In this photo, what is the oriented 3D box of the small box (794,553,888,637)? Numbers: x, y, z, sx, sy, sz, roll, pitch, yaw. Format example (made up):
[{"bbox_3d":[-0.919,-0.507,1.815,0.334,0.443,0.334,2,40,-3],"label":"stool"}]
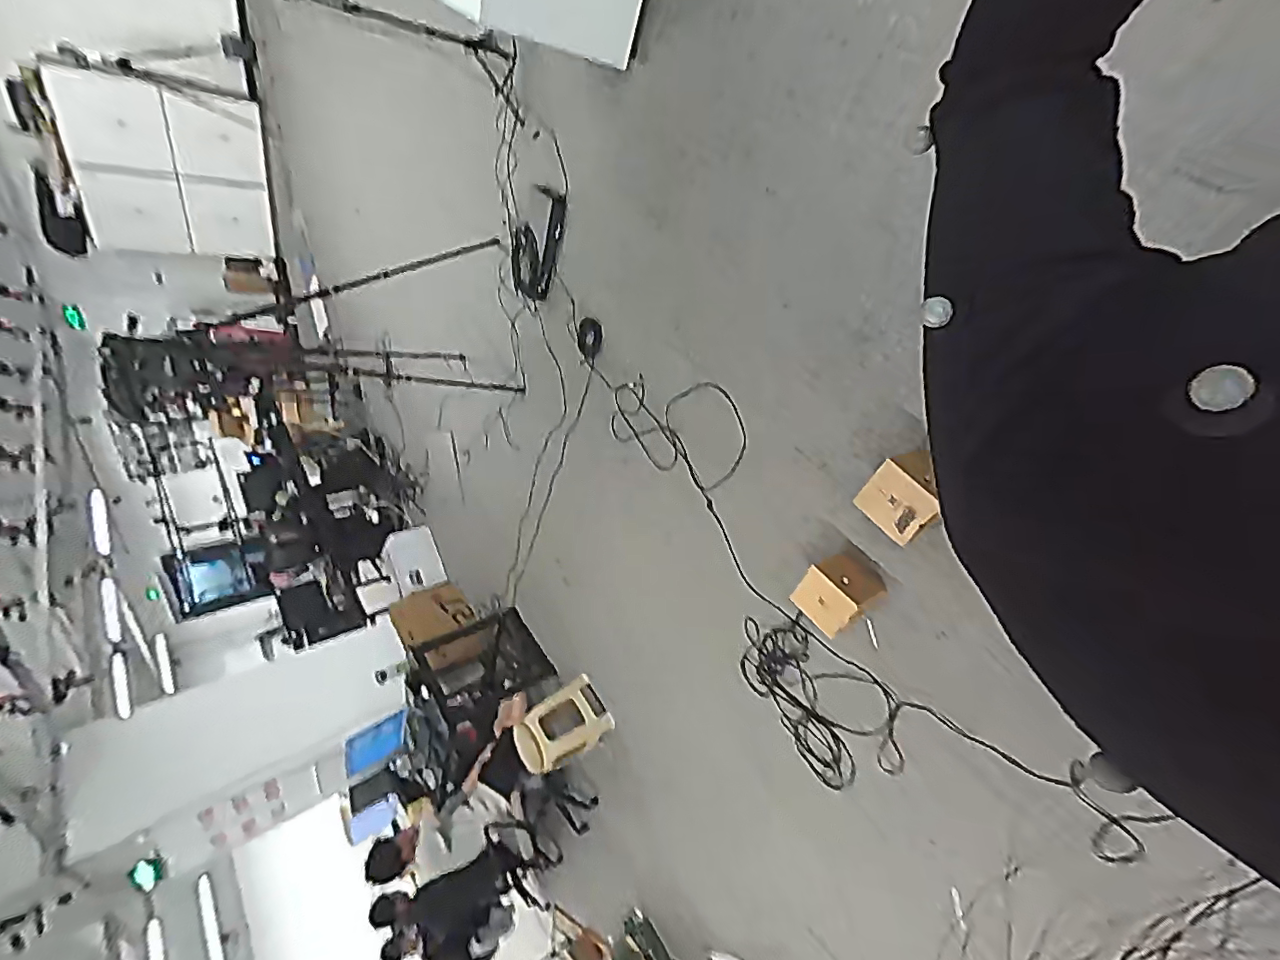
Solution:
[{"bbox_3d":[0.621,0.347,1.674,0.179,0.176,0.168,45,134,31],"label":"small box"}]

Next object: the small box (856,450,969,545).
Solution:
[{"bbox_3d":[0.725,0.039,1.436,0.179,0.176,0.168,50,136,28],"label":"small box"}]
